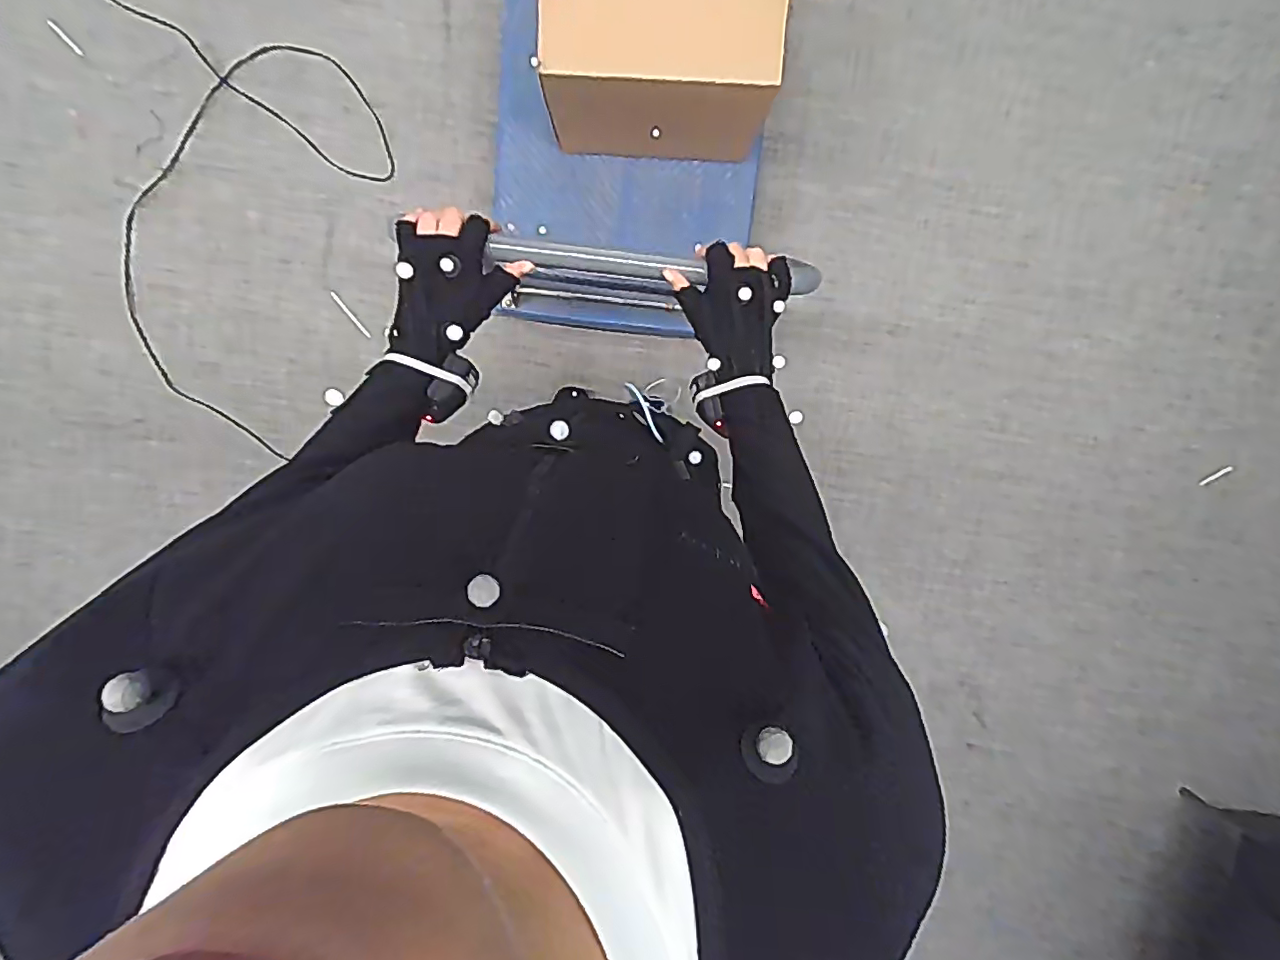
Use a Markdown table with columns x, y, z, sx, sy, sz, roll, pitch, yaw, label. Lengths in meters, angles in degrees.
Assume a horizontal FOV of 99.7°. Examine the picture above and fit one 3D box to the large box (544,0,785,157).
| x | y | z | sx | sy | sz | roll | pitch | yaw | label |
| --- | --- | --- | --- | --- | --- | --- | --- | --- | --- |
| 0.042 | -0.840 | 1.028 | 0.408 | 0.320 | 0.320 | 1 | 99 | 0 | large box |
